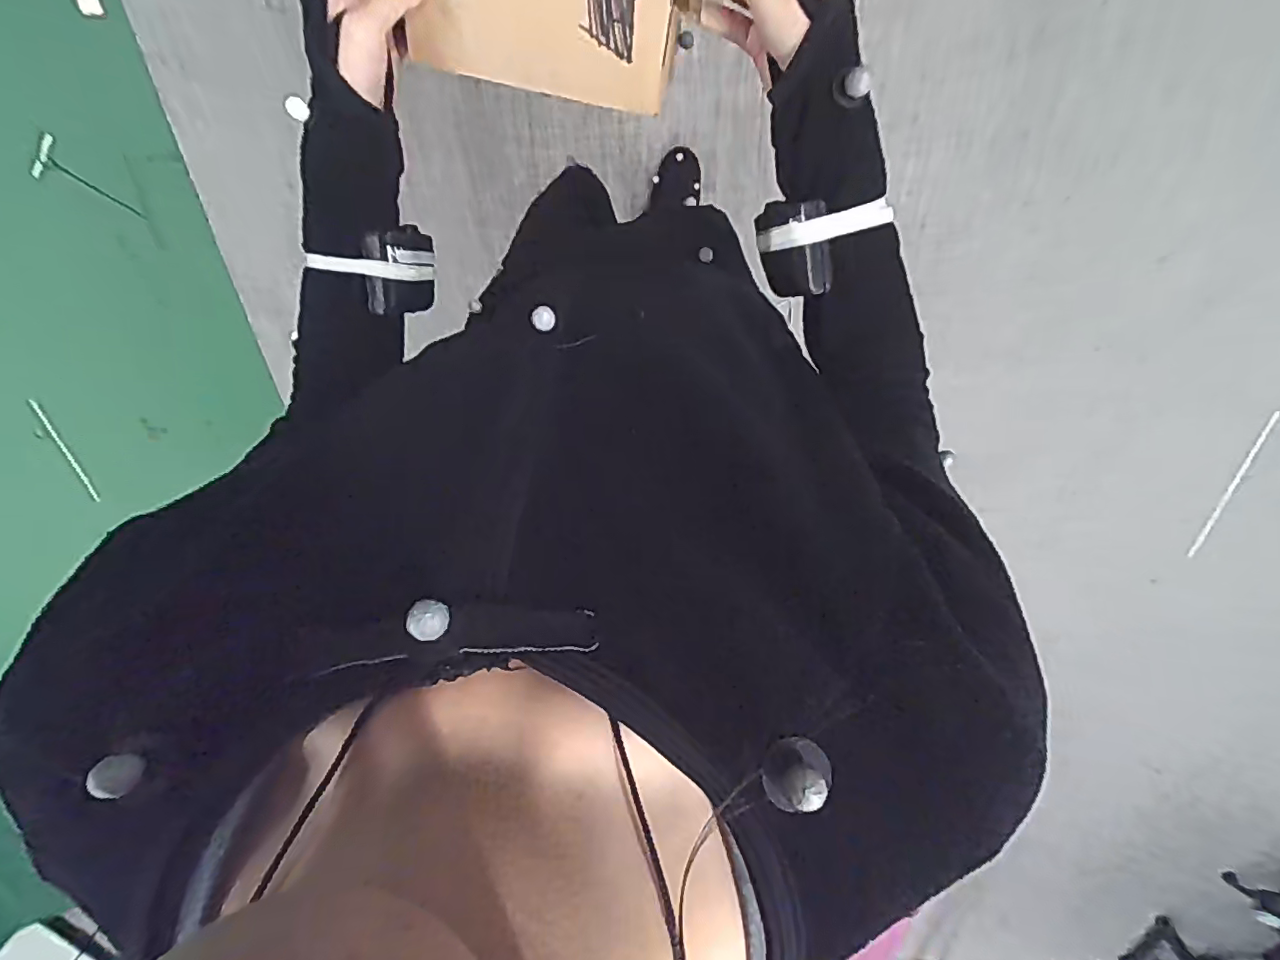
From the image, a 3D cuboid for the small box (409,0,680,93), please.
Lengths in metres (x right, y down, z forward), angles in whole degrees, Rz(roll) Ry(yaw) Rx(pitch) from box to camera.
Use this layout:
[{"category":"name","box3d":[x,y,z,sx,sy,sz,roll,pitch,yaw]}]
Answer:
[{"category":"small box","box3d":[-0.050,-0.401,0.377,0.179,0.176,0.168,11,134,-2]}]

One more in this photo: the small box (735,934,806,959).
[{"category":"small box","box3d":[0.386,1.462,1.576,0.179,0.176,0.168,10,121,-2]}]
